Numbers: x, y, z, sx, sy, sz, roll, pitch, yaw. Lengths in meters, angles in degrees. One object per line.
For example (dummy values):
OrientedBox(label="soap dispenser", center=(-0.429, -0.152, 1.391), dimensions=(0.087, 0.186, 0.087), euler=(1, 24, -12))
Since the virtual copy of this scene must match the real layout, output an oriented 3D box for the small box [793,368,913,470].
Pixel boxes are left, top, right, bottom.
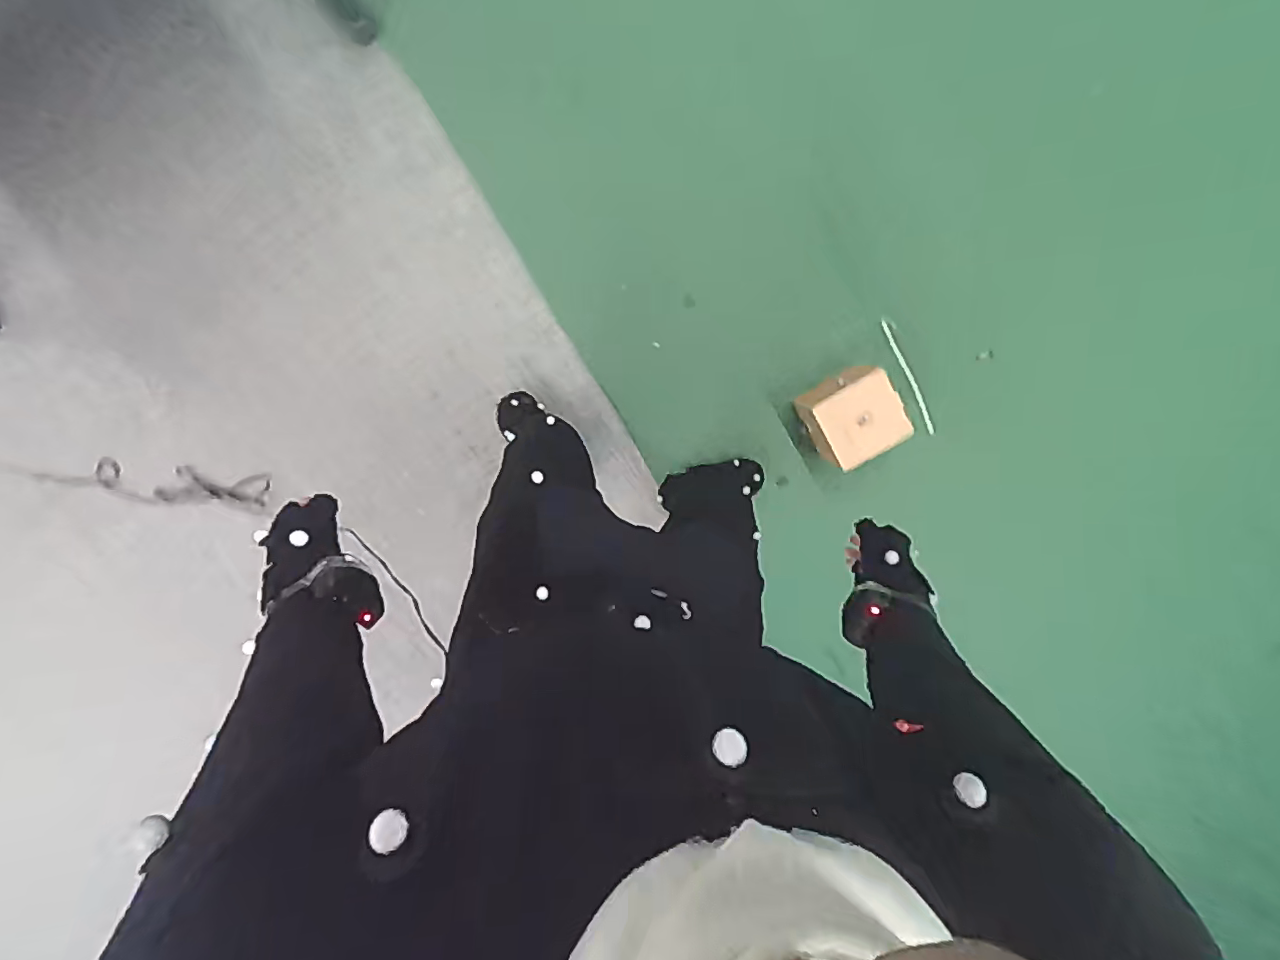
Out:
OrientedBox(label="small box", center=(0.480, -0.148, 1.241), dimensions=(0.179, 0.176, 0.168), euler=(-28, 101, 7))
